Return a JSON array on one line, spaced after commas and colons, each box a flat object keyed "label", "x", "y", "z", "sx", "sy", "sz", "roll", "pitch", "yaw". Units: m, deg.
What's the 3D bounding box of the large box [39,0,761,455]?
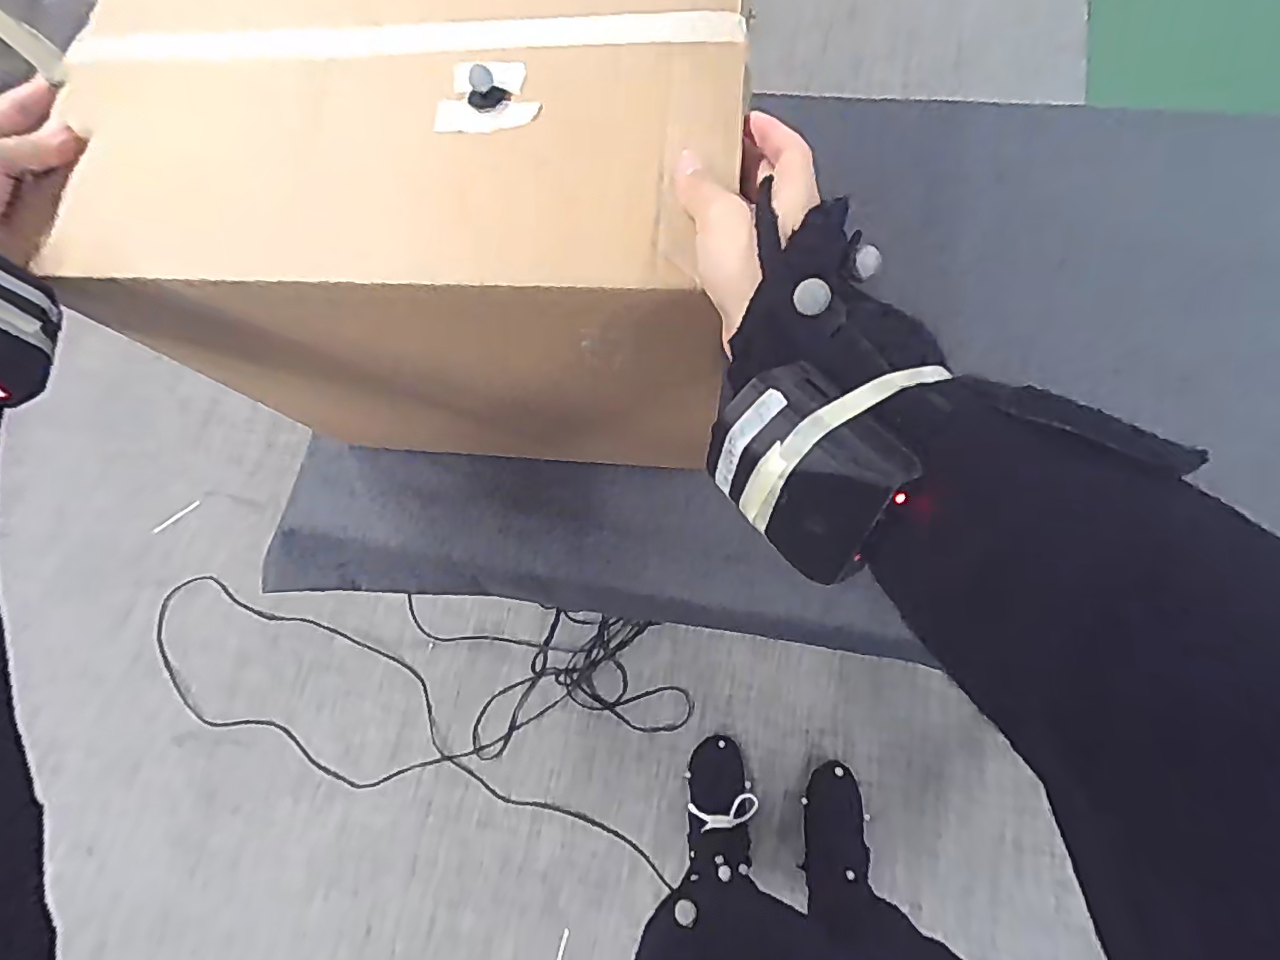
[{"label": "large box", "x": -0.121, "y": -0.216, "z": 0.465, "sx": 0.408, "sy": 0.320, "sz": 0.320, "roll": 3, "pitch": 77, "yaw": 5}]
